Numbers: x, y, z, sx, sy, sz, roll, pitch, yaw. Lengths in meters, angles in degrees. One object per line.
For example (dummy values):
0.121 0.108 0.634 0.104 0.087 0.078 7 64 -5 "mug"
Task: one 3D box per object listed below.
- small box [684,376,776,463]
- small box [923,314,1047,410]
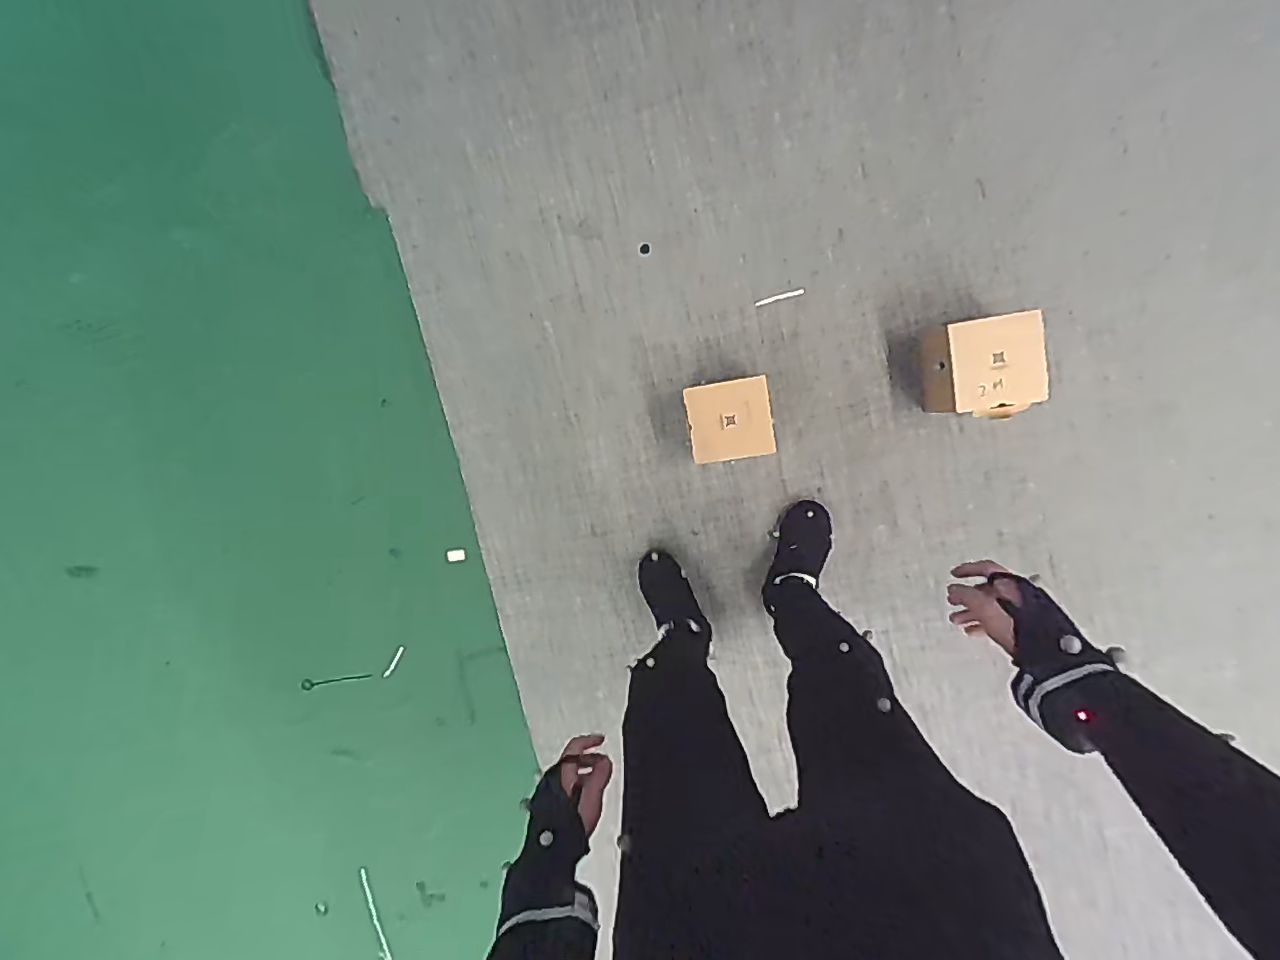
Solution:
0.201 -0.134 1.204 0.179 0.176 0.168 -8 97 10 "small box"
0.693 -0.233 1.106 0.168 0.176 0.179 -1 98 12 "small box"
